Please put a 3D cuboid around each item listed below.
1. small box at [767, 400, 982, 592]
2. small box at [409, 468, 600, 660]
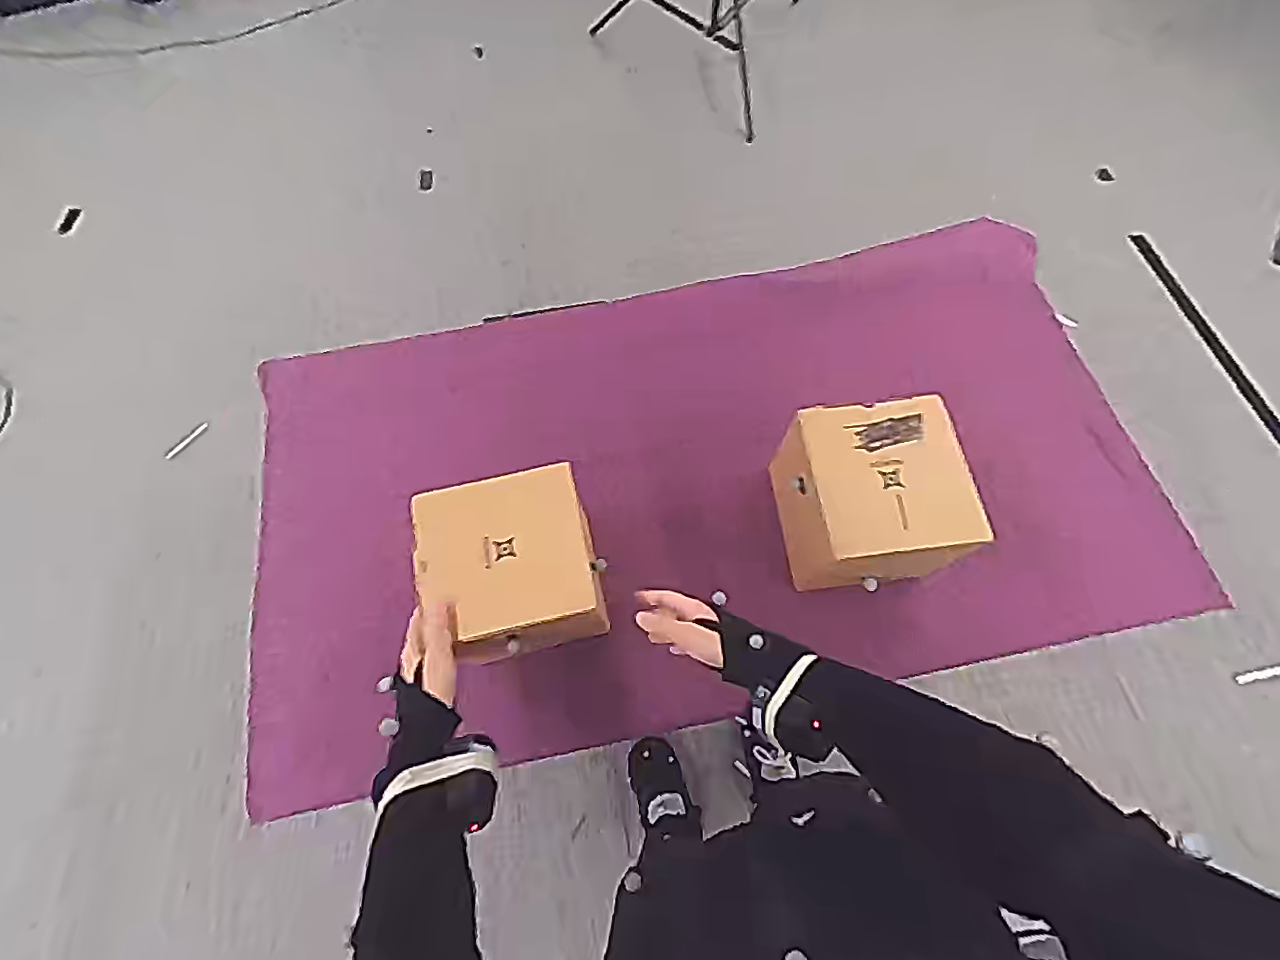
[{"bbox_3d":[0.262,0.026,0.655,0.168,0.176,0.179,-7,68,-1],"label":"small box"},{"bbox_3d":[-0.147,0.106,0.635,0.179,0.176,0.168,-13,68,-3],"label":"small box"}]
